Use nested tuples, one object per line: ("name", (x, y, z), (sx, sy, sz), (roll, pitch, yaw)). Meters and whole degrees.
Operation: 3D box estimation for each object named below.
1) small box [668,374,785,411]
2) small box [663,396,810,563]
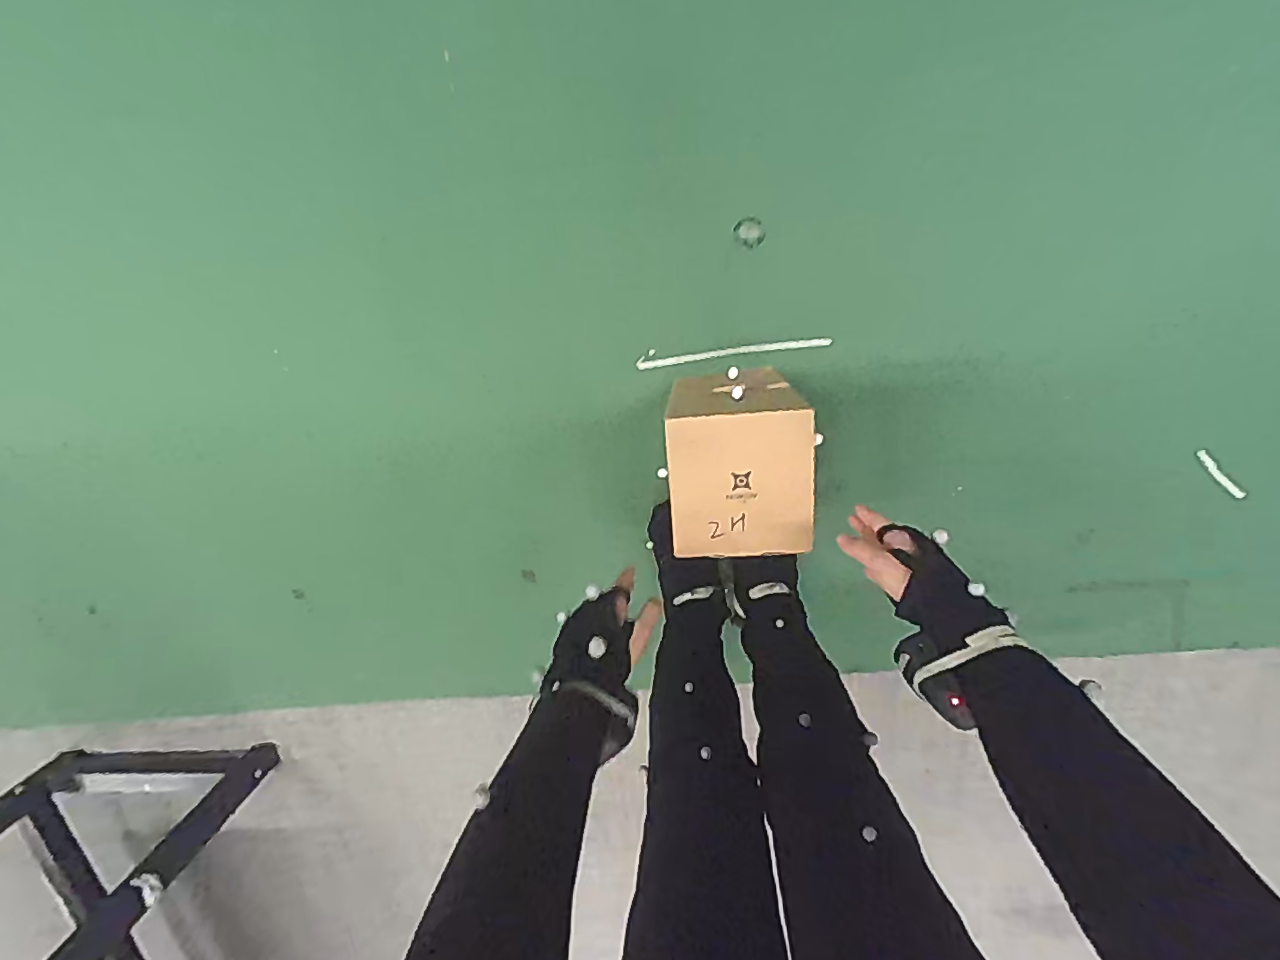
("small box", (0.140, -0.061, 0.855), (0.168, 0.176, 0.179), (-6, 107, 8))
("small box", (0.120, -0.010, 0.699), (0.168, 0.176, 0.179), (-4, 108, 8))
